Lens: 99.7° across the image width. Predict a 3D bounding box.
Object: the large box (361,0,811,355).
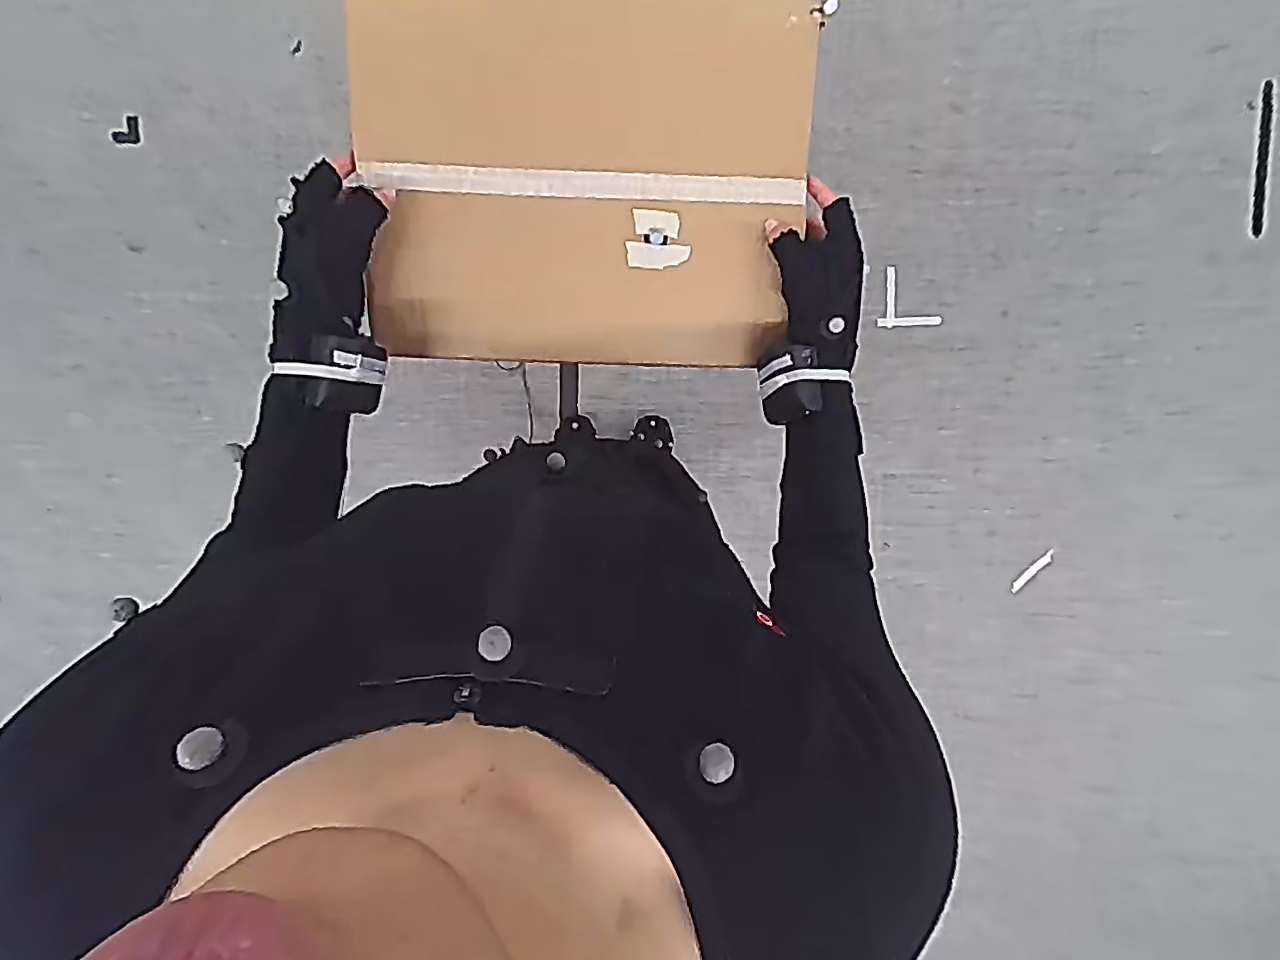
[{"bbox_3d":[-0.054,-0.312,0.650,0.408,0.320,0.320,1,103,-3],"label":"large box"}]
